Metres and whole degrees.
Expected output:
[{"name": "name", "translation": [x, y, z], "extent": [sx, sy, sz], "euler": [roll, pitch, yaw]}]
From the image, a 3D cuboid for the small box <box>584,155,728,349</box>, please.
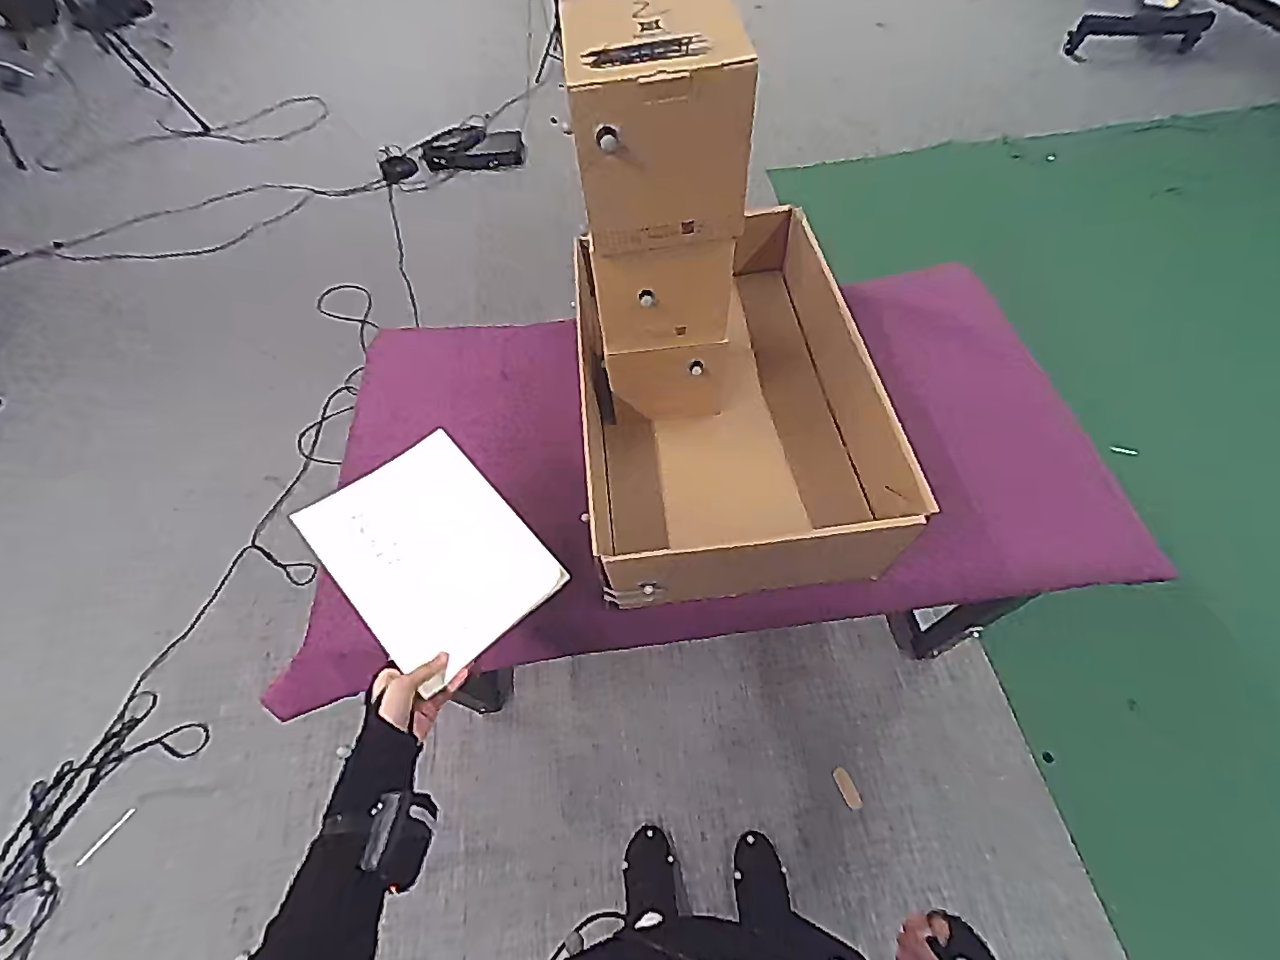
[{"name": "small box", "translation": [0.021, -0.291, 0.718], "extent": [0.168, 0.176, 0.179], "euler": [-6, 59, 1]}]
